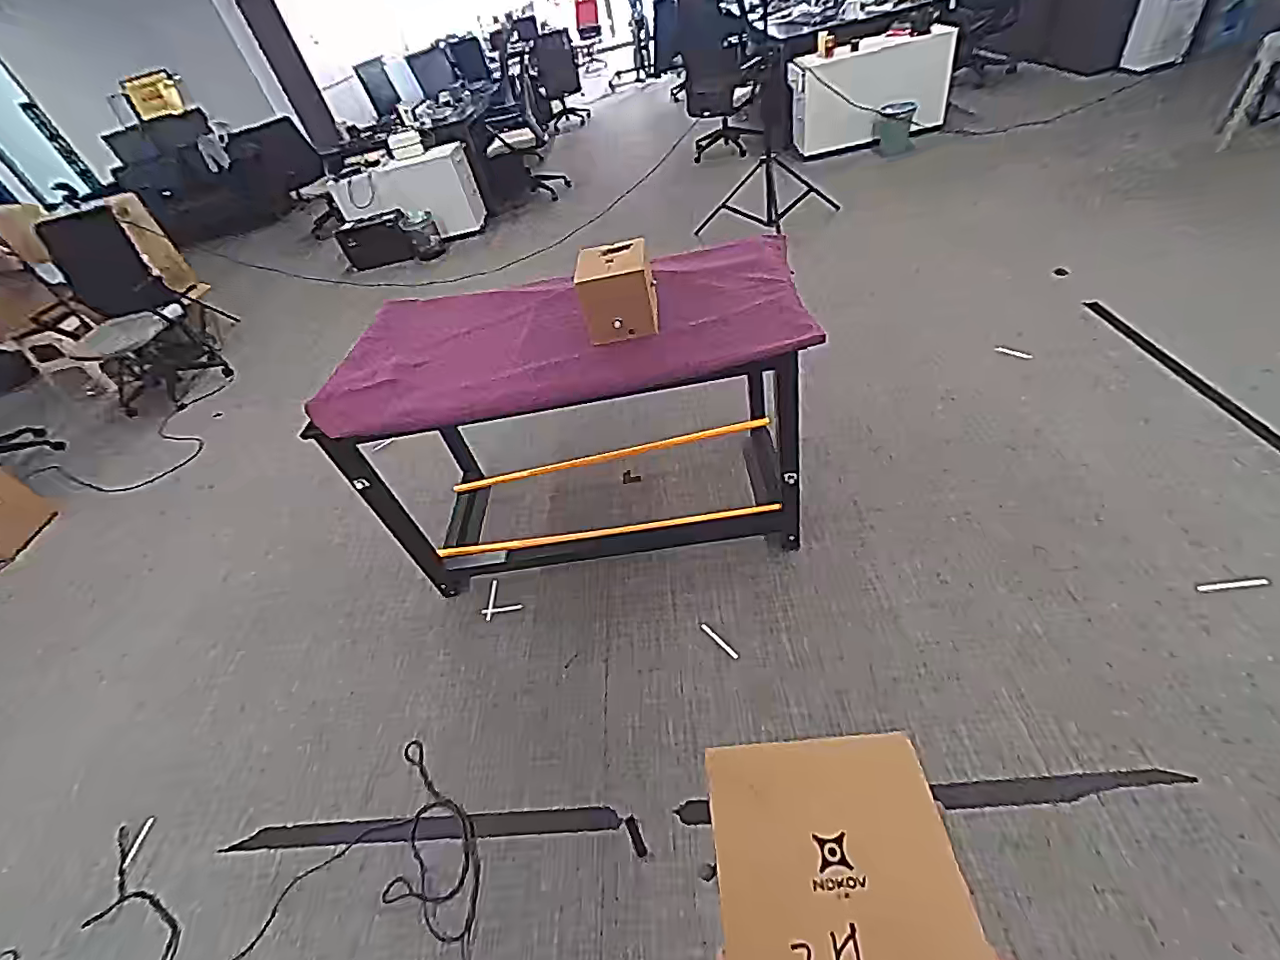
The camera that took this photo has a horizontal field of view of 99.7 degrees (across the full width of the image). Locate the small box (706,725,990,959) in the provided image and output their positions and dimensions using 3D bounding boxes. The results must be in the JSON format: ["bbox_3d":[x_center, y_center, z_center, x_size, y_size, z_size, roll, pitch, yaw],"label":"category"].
[{"bbox_3d":[0.146,0.325,0.434,0.168,0.176,0.179,-8,41,6],"label":"small box"}]

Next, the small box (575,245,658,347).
[{"bbox_3d":[-0.051,-0.451,1.333,0.168,0.176,0.179,-8,44,9],"label":"small box"}]
